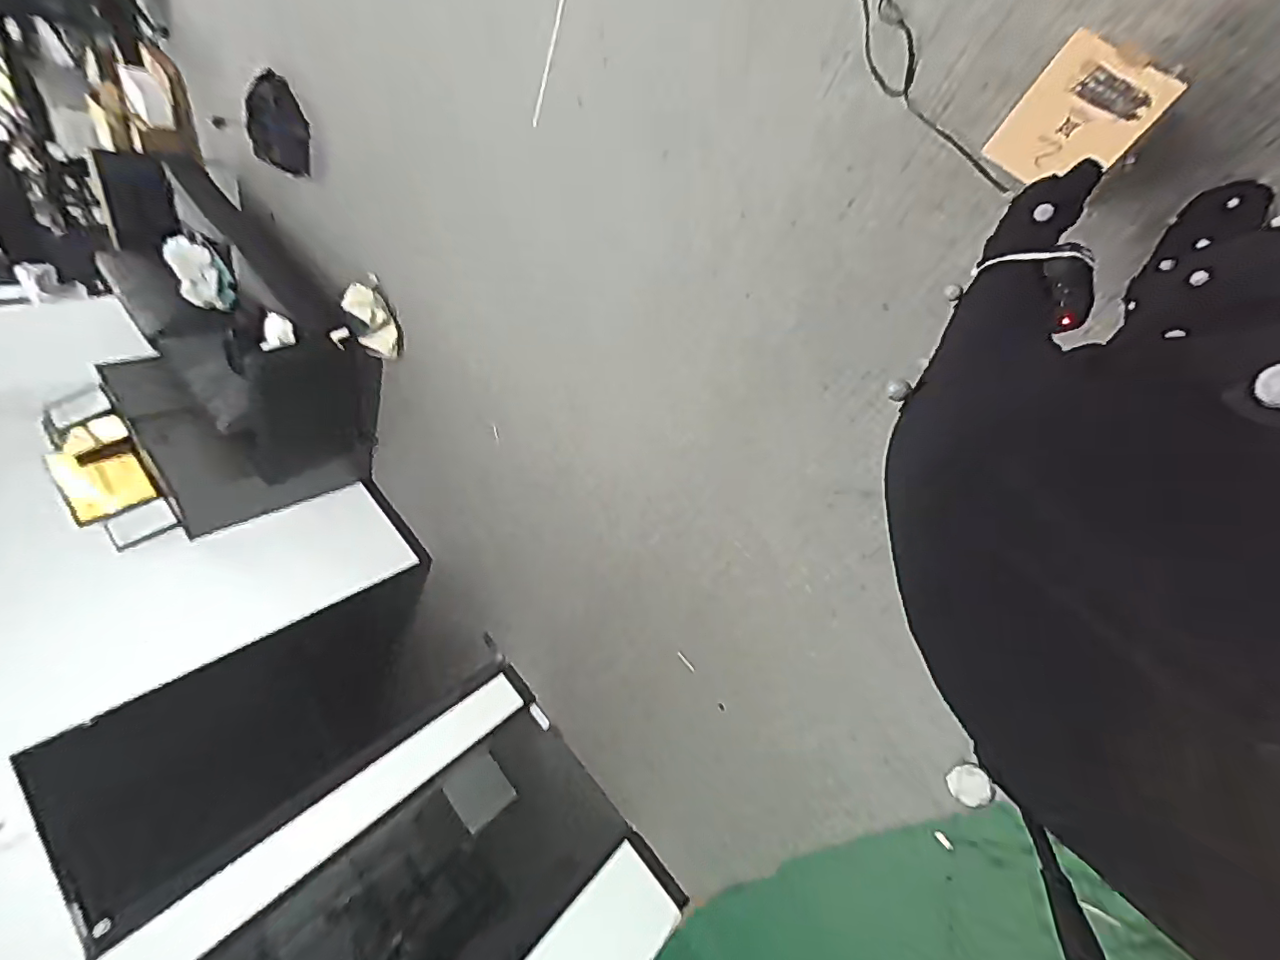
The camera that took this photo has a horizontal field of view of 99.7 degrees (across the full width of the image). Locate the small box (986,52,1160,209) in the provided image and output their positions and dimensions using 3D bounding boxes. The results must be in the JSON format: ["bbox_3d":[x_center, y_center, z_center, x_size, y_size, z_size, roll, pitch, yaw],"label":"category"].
[{"bbox_3d":[0.773,-0.618,0.974,0.168,0.176,0.179,48,135,15],"label":"small box"}]
